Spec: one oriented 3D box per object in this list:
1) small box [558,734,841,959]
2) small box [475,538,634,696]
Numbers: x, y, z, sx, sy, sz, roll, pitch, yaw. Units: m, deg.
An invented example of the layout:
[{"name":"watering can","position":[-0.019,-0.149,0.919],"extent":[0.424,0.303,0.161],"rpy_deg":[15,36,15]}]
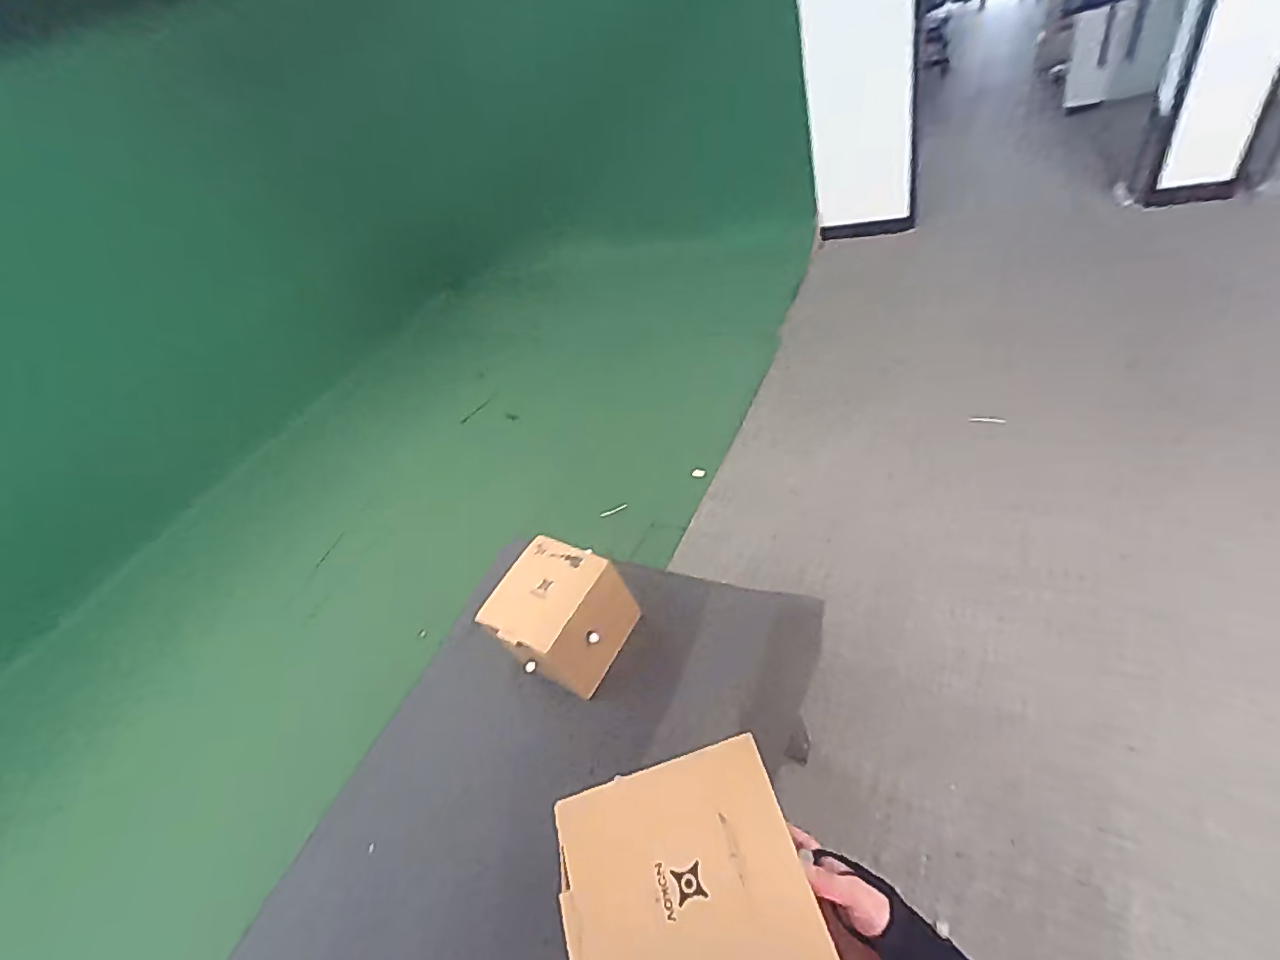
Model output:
[{"name":"small box","position":[0.049,0.344,0.463],"extent":[0.179,0.176,0.168],"rpy_deg":[-19,55,-2]},{"name":"small box","position":[-0.133,0.232,0.913],"extent":[0.168,0.176,0.179],"rpy_deg":[15,56,34]}]
